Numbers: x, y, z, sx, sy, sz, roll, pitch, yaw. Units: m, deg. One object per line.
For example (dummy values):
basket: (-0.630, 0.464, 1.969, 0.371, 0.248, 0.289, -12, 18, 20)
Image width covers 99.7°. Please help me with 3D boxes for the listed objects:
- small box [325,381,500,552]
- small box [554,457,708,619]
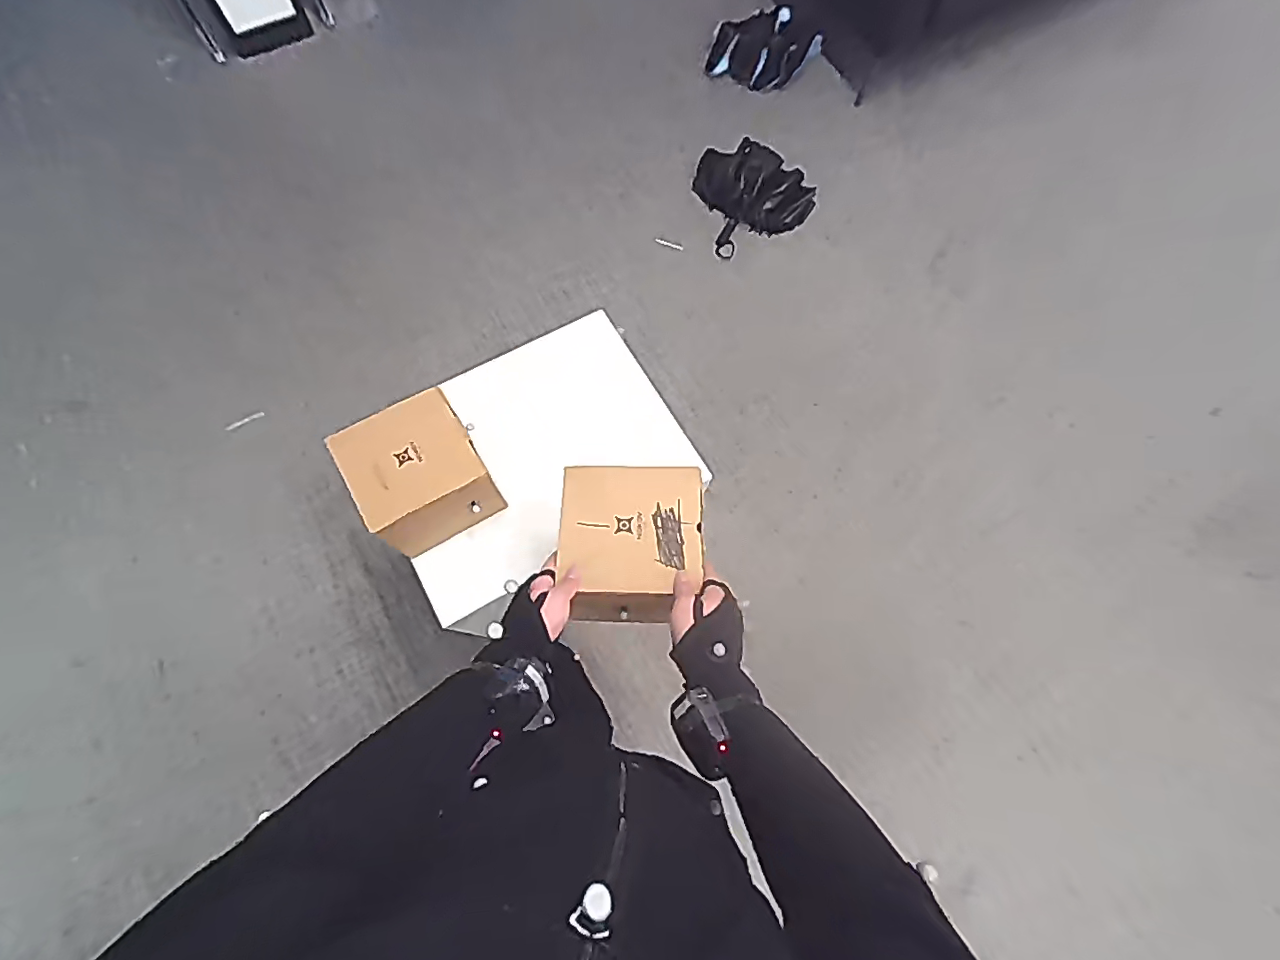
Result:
small box: (-0.327, -0.013, 0.819, 0.179, 0.176, 0.168, -29, 74, -14)
small box: (-0.009, 0.083, 0.713, 0.179, 0.176, 0.168, 2, 63, 1)
